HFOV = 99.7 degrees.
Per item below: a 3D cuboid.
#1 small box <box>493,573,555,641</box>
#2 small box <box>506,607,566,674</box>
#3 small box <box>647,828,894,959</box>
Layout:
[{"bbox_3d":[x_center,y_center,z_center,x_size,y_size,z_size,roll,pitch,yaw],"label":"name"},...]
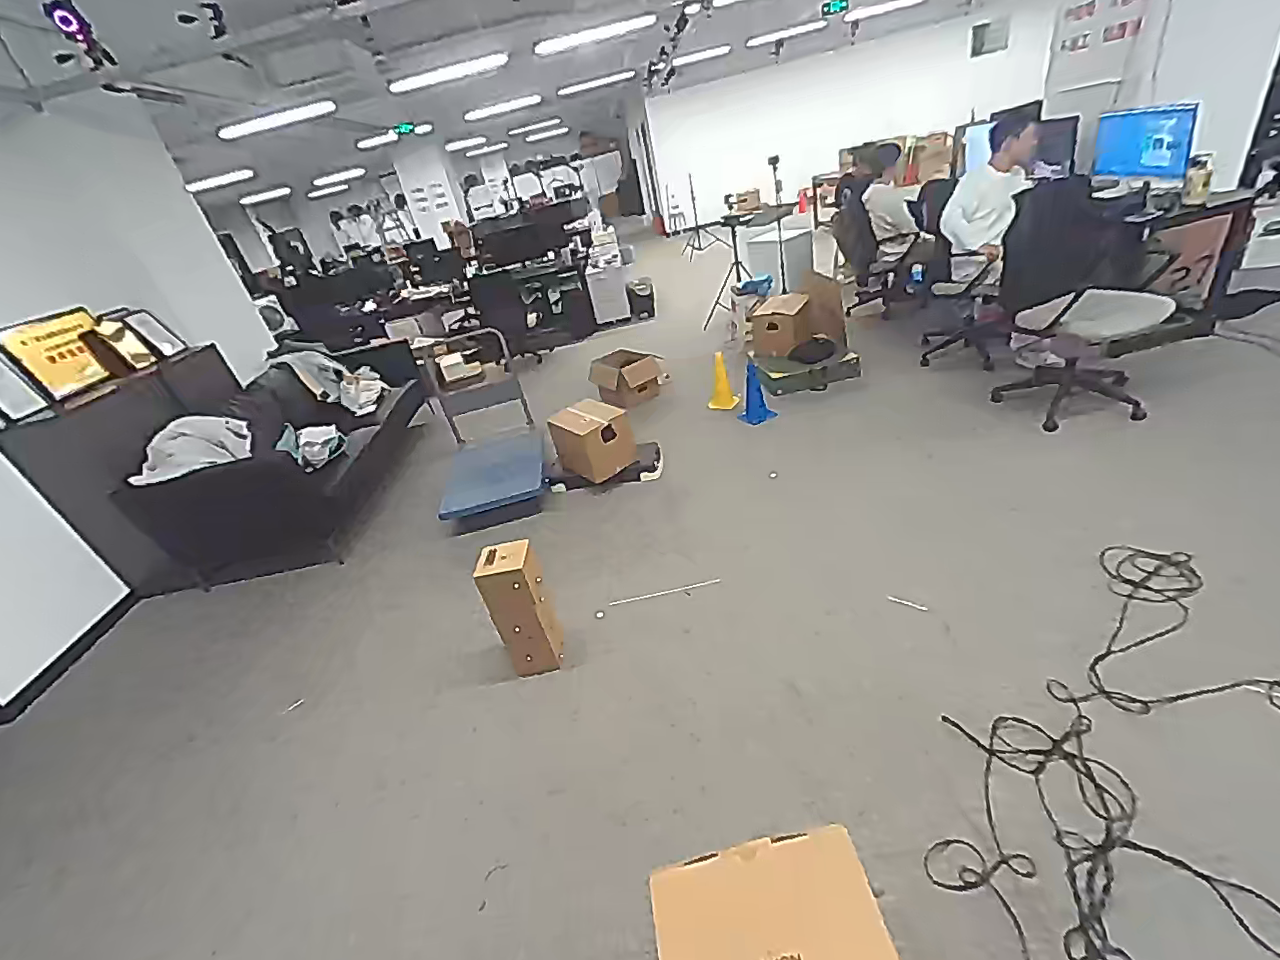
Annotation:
[{"bbox_3d":[-0.420,0.473,1.988,0.168,0.176,0.179,-11,30,5],"label":"small box"},{"bbox_3d":[-0.391,0.614,2.069,0.179,0.176,0.168,-12,30,5],"label":"small box"},{"bbox_3d":[0.112,0.409,0.413,0.168,0.176,0.179,-14,37,1],"label":"small box"}]
